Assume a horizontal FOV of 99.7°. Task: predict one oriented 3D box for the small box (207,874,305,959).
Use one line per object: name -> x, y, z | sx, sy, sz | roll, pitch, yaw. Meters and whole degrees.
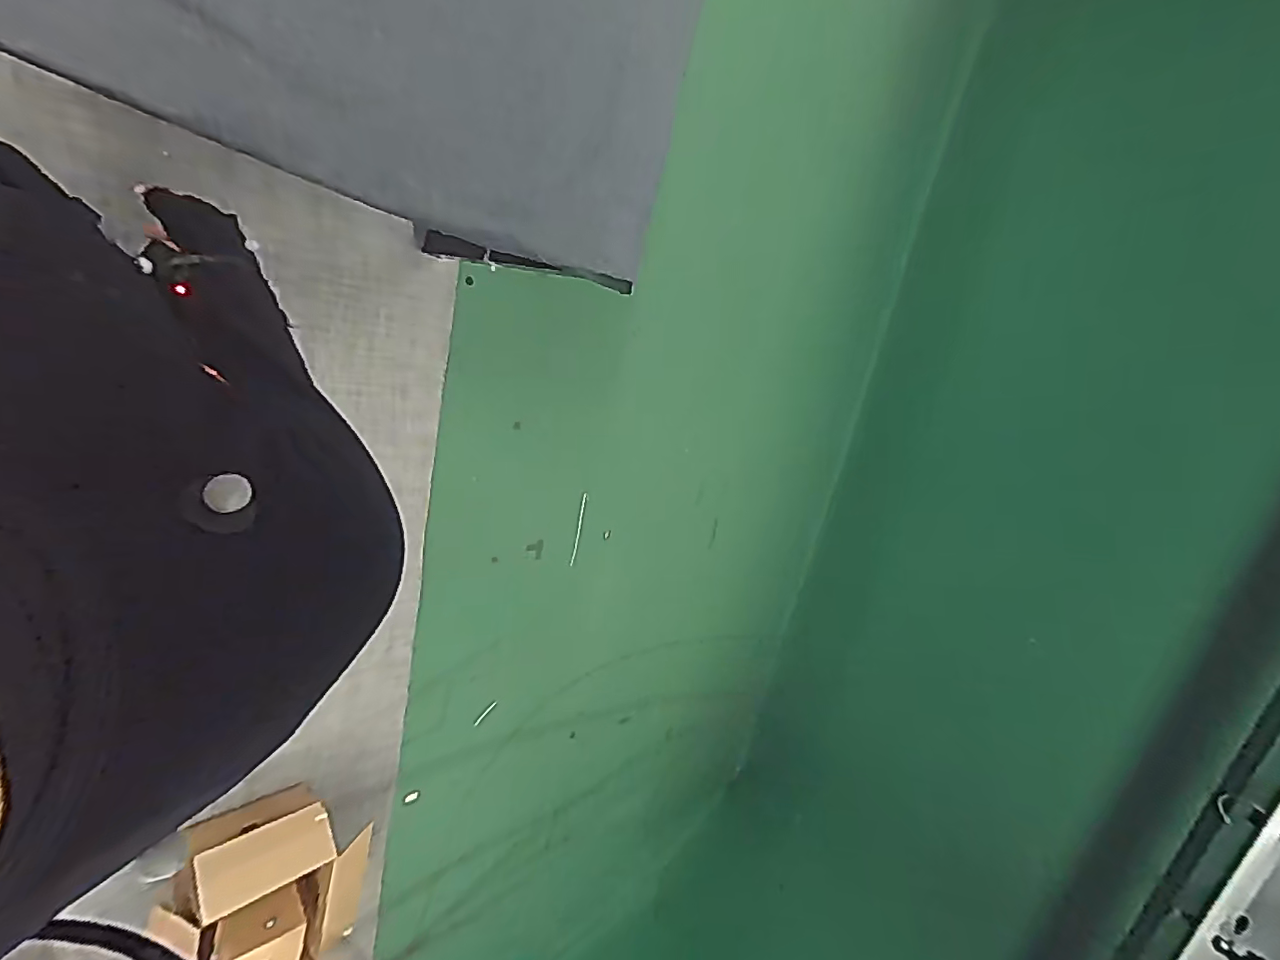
small box -> -1.022, 1.210, 1.433 | 0.179, 0.176, 0.168 | 2, 107, -49
